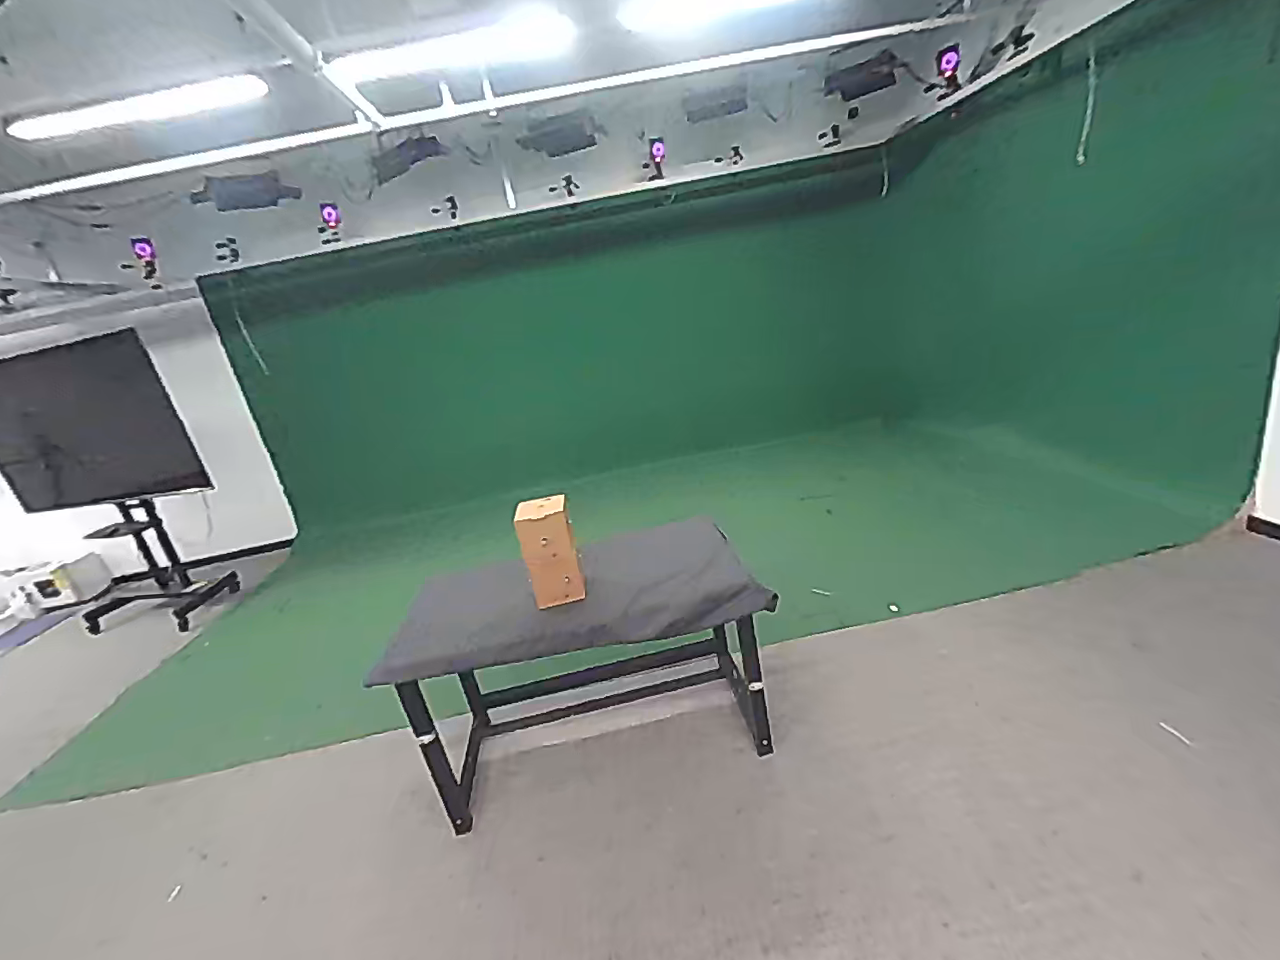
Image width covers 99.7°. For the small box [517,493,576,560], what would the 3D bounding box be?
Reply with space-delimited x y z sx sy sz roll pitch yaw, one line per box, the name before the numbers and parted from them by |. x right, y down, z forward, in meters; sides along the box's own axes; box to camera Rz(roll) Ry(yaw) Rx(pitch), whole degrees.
small box | -0.318 0.165 1.864 0.168 0.176 0.179 -10 19 -3

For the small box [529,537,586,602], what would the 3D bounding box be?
small box | -0.287 0.319 1.911 0.168 0.176 0.179 -11 17 -4
